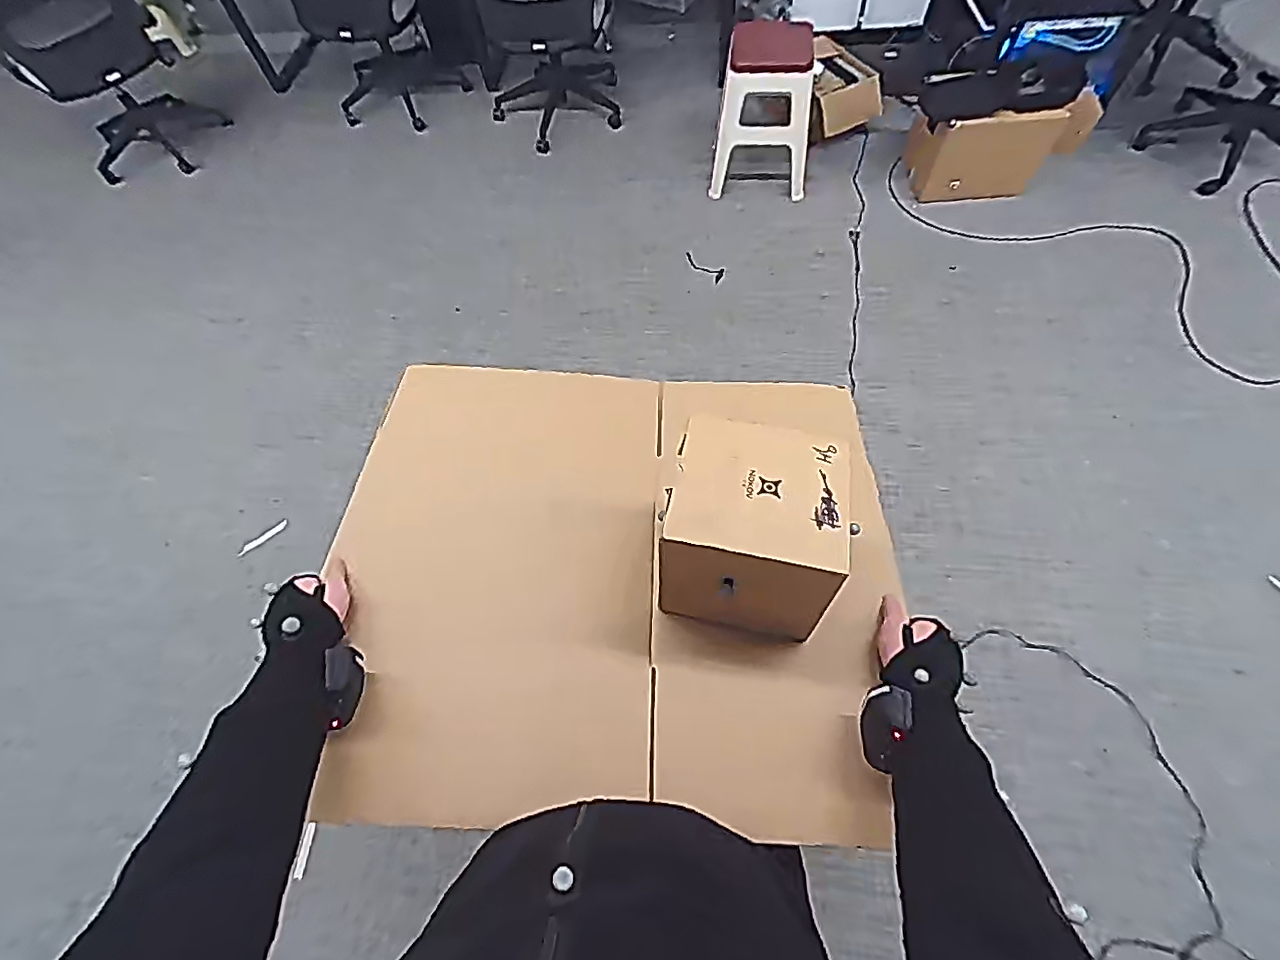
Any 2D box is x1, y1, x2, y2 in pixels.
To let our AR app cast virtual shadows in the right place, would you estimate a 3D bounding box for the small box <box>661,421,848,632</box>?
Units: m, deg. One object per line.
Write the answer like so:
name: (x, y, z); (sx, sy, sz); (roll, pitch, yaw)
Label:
small box: (0.126, 0.057, 0.616); (0.179, 0.176, 0.168); (9, 55, 9)
